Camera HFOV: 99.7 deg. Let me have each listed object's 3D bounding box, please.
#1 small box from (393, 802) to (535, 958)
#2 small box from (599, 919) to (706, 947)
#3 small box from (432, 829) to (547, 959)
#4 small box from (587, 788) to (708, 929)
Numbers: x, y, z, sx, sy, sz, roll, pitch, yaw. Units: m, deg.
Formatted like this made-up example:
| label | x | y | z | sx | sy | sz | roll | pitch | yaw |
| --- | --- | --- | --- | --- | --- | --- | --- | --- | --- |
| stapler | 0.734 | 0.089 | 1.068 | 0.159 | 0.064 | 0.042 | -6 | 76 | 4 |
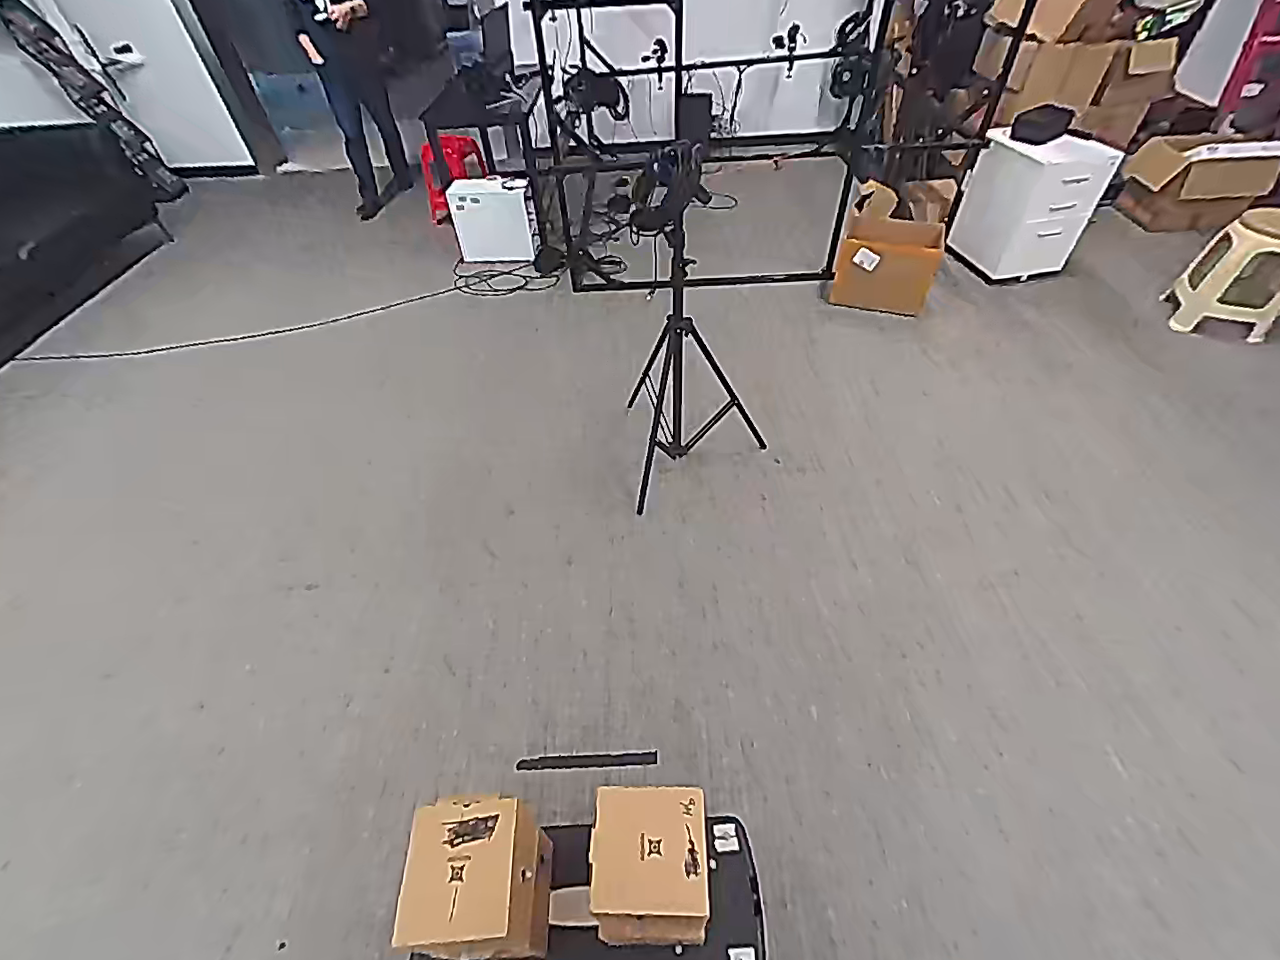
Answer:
| label | x | y | z | sx | sy | sz | roll | pitch | yaw |
| --- | --- | --- | --- | --- | --- | --- | --- | --- | --- |
| small box | -0.266 | 0.641 | 0.866 | 0.168 | 0.176 | 0.179 | -4 | 47 | -1 |
| small box | 0.025 | 0.741 | 0.984 | 0.179 | 0.176 | 0.168 | -3 | 46 | 3 |
| small box | -0.257 | 0.757 | 0.981 | 0.168 | 0.176 | 0.179 | -4 | 47 | 0 |
| small box | 0.019 | 0.615 | 0.876 | 0.179 | 0.176 | 0.168 | -2 | 46 | 4 |
